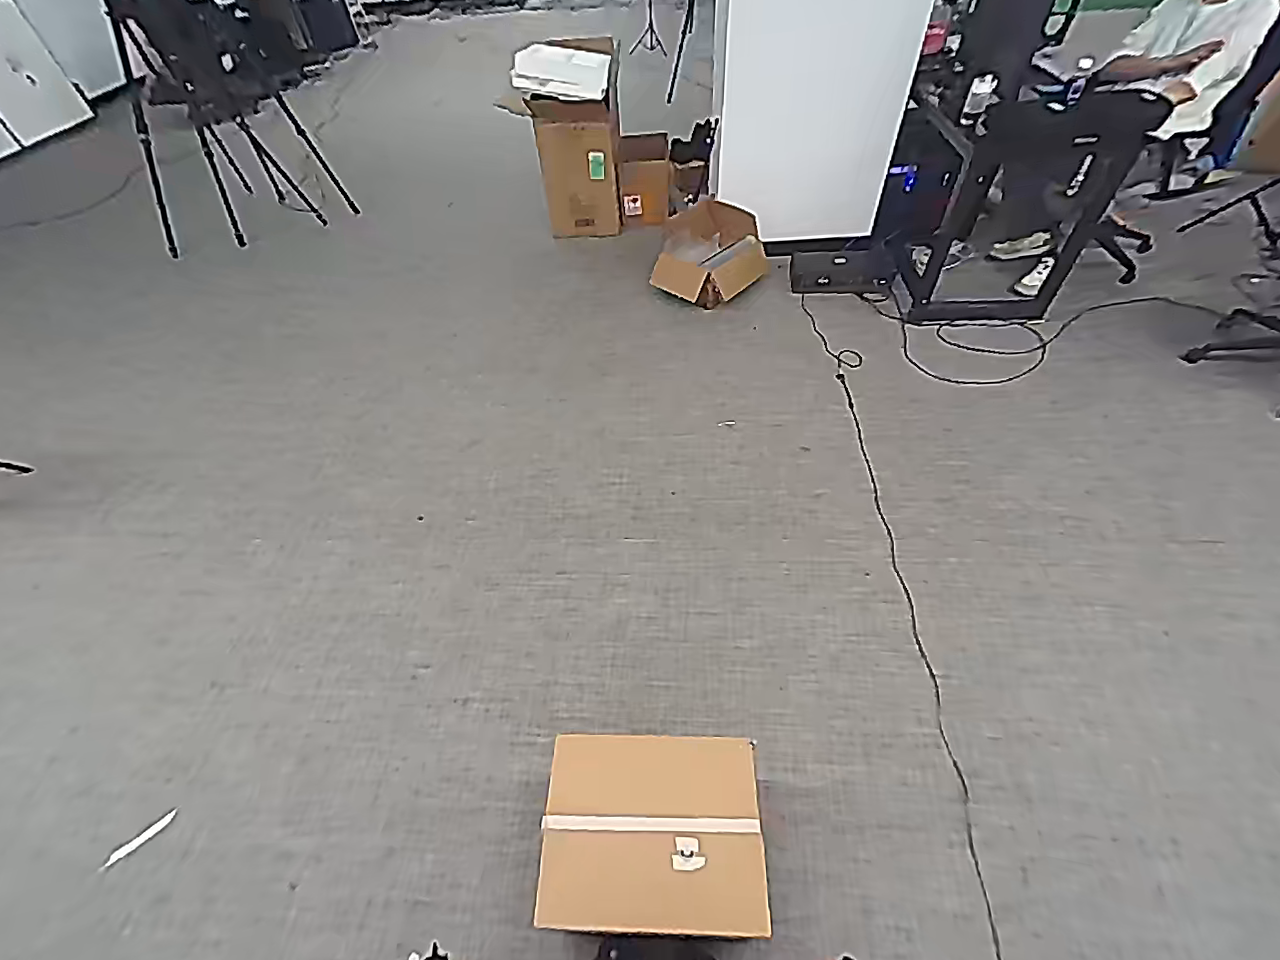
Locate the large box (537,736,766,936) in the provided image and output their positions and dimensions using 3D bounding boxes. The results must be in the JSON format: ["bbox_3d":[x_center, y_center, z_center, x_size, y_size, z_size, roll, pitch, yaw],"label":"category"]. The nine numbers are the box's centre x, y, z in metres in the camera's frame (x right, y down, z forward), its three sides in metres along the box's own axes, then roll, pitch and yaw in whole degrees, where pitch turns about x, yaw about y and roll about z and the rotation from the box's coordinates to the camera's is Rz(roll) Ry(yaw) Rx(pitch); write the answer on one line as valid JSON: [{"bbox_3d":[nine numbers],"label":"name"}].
[{"bbox_3d":[0.024,0.747,1.131,0.408,0.320,0.320,0,49,3],"label":"large box"}]
